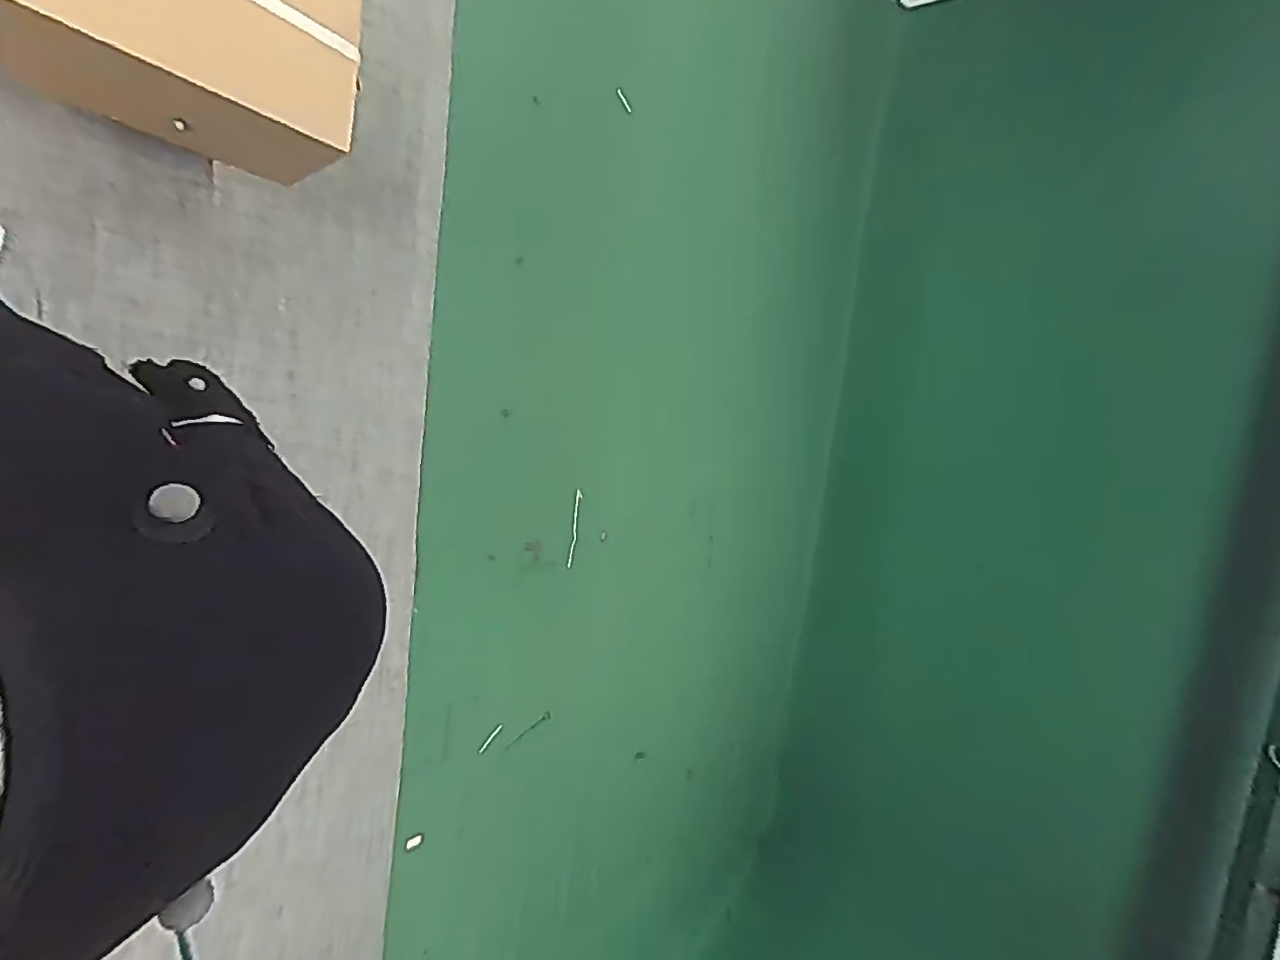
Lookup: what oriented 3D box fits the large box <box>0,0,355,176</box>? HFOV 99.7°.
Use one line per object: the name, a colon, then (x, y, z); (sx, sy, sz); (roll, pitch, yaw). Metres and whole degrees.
large box: (-0.733, -0.752, 0.867); (0.408, 0.320, 0.320); (2, 98, -50)
